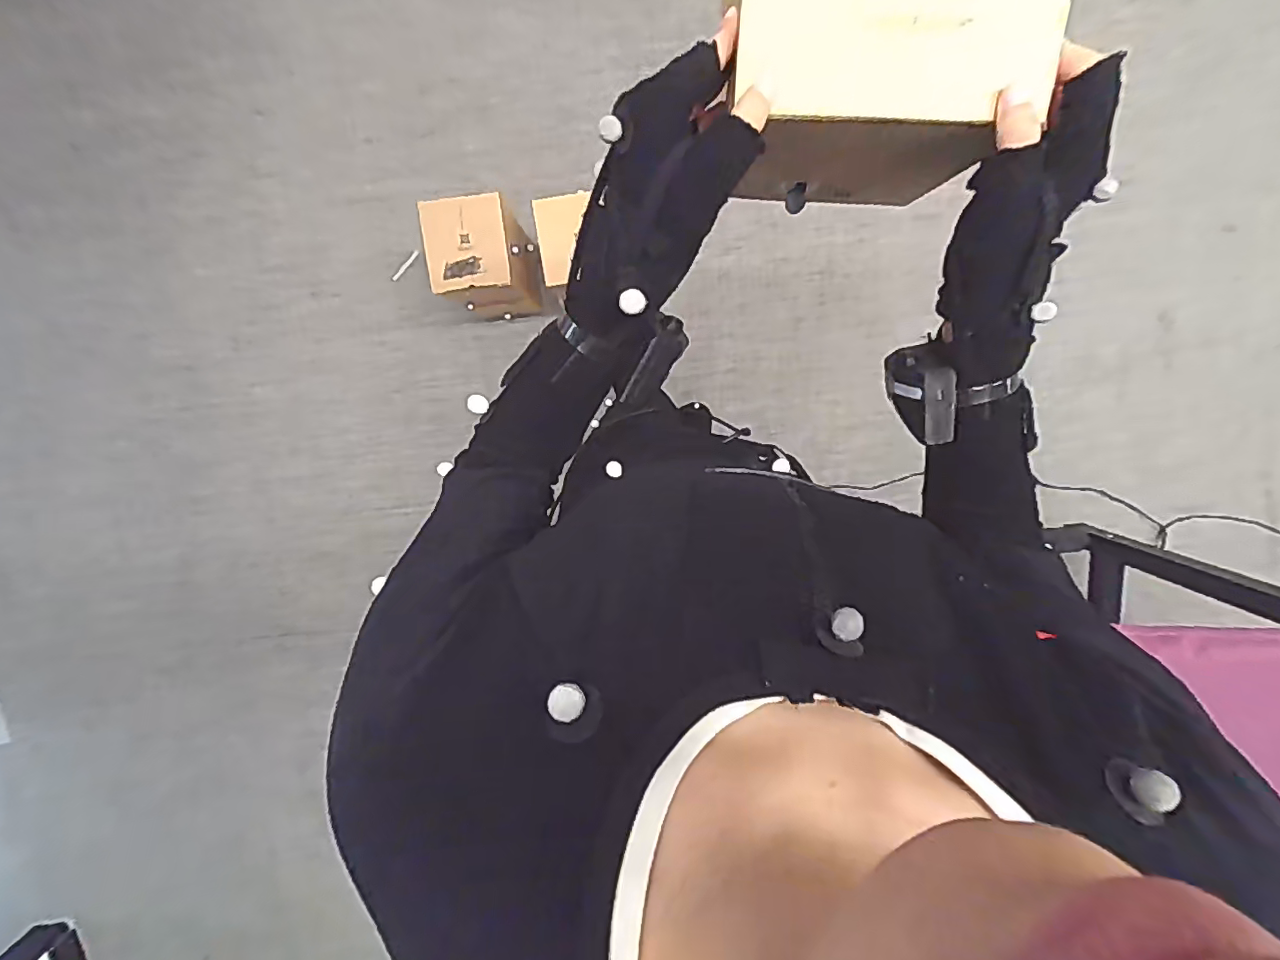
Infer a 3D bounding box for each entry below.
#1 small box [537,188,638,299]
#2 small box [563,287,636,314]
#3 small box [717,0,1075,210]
[{"bbox_3d":[-0.103,-0.488,1.141,0.179,0.176,0.168,-8,100,3],"label":"small box"},{"bbox_3d":[-0.103,-0.511,1.302,0.168,0.176,0.179,-7,99,3],"label":"small box"},{"bbox_3d":[0.142,-0.292,0.346,0.168,0.176,0.179,3,104,3],"label":"small box"}]
